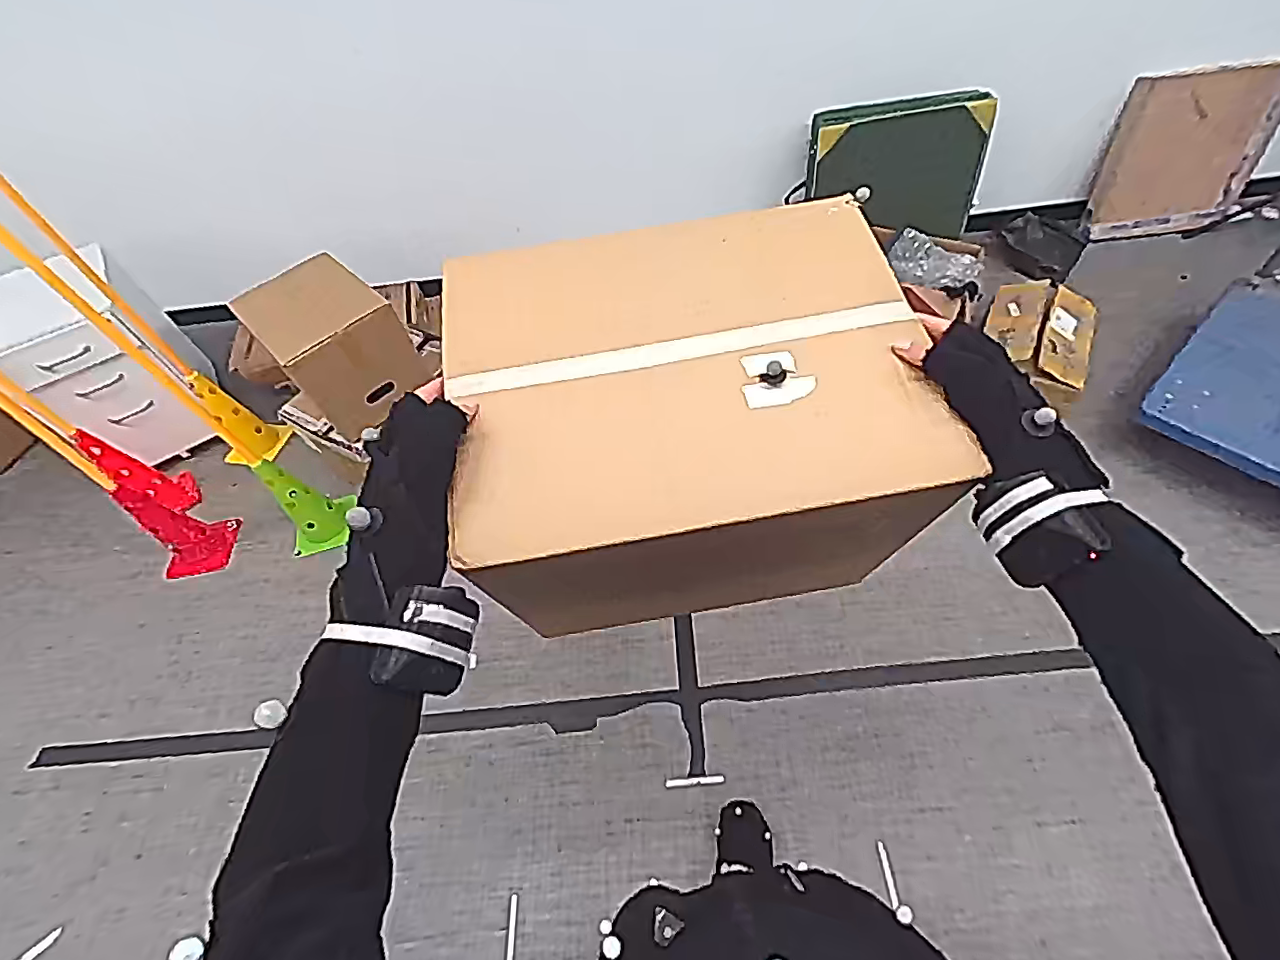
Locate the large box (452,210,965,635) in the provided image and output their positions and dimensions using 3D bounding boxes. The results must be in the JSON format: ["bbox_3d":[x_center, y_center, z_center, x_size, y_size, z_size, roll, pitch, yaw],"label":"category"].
[{"bbox_3d":[0.040,-0.040,0.610,0.408,0.320,0.320,-10,65,-2],"label":"large box"}]
